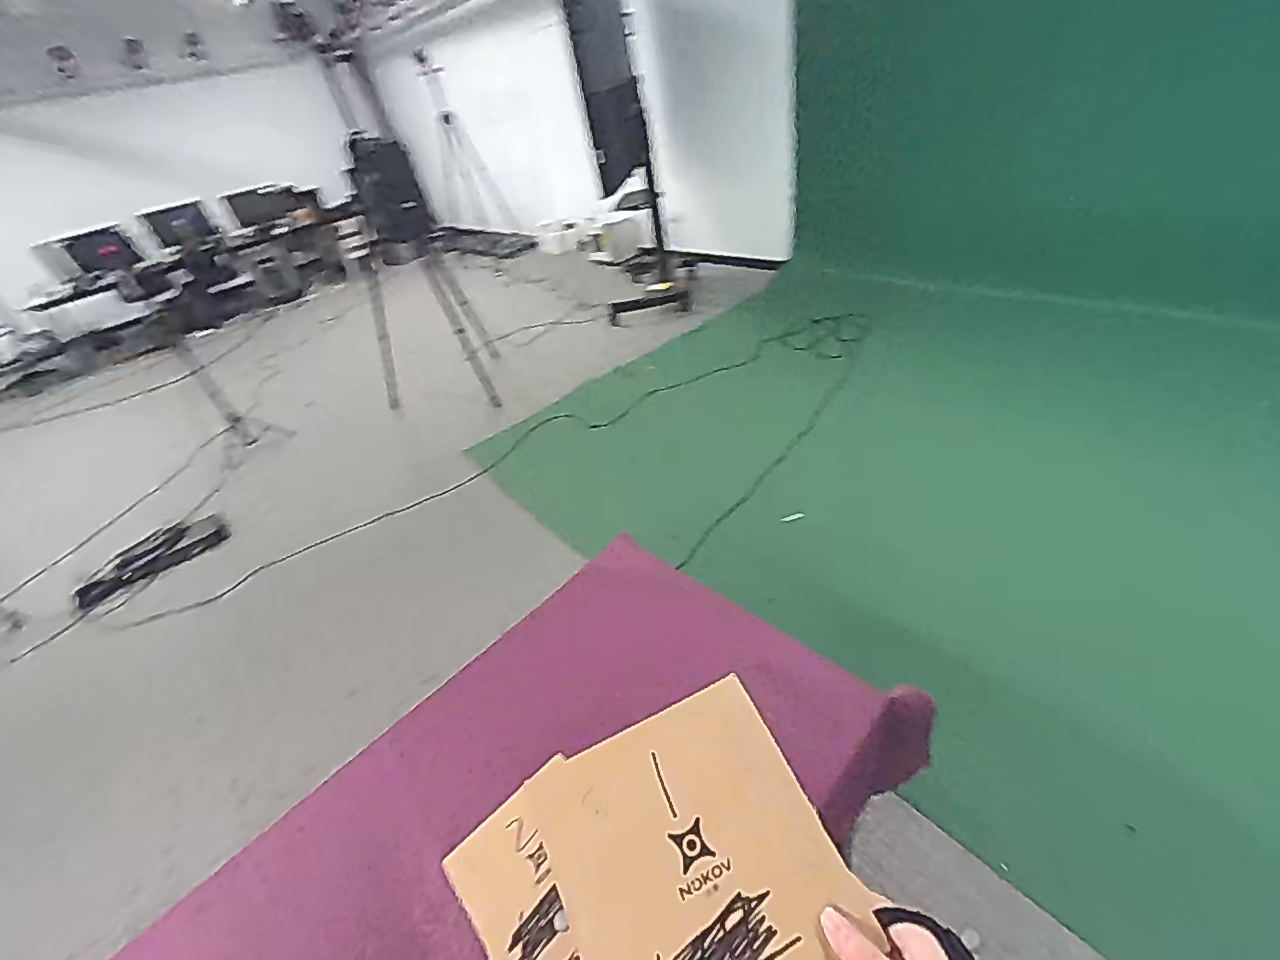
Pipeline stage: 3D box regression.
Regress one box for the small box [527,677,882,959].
[{"bbox_3d":[0.032,0.281,0.400,0.168,0.176,0.179,-20,57,-15],"label":"small box"}]
